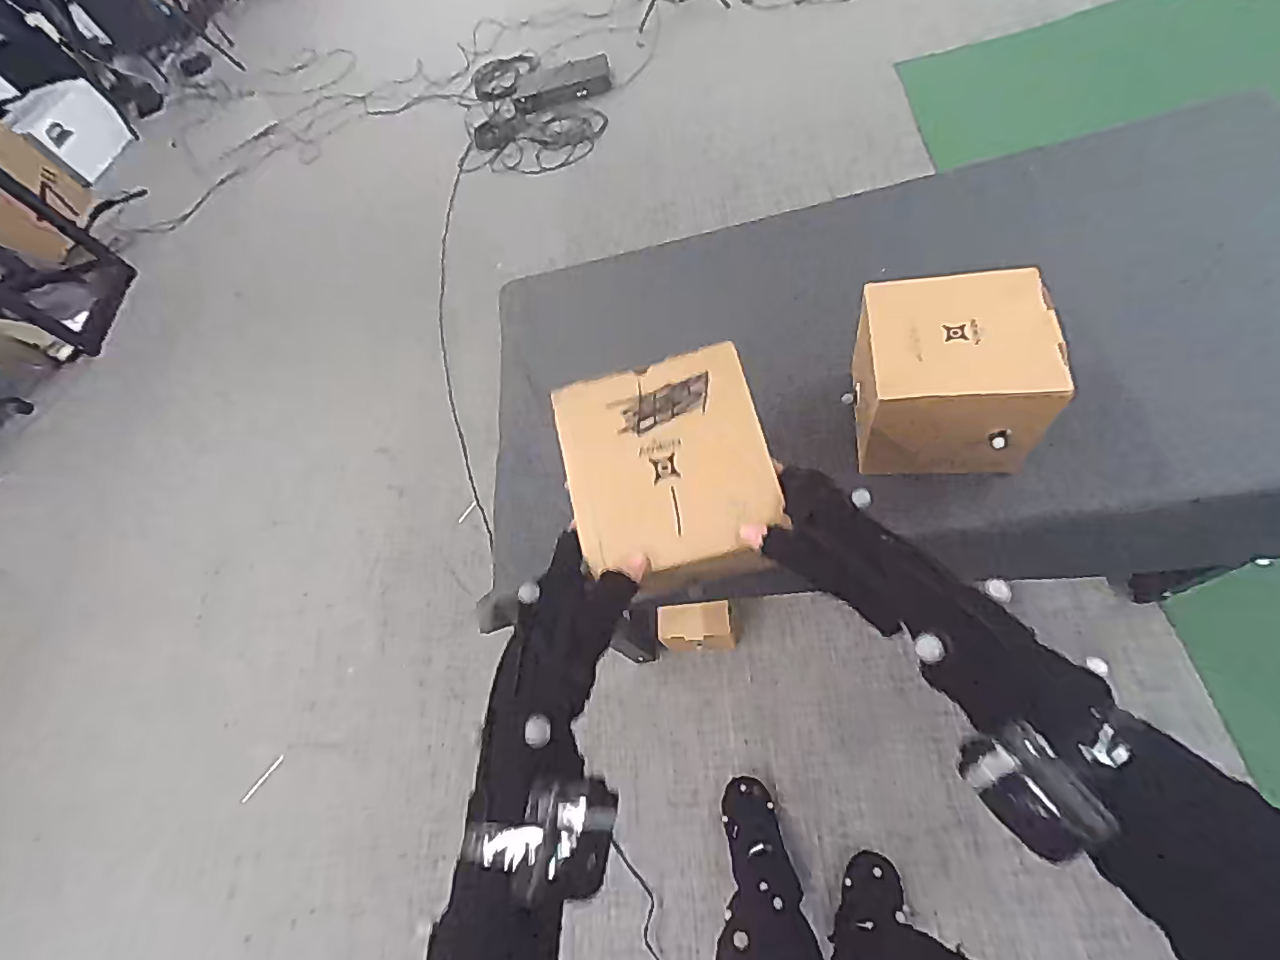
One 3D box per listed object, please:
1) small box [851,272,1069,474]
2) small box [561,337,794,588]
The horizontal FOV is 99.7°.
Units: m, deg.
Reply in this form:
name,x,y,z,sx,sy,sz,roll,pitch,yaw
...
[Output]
name,x,y,z,sx,sy,sz,roll,pitch,yaw
small box,0.356,-0.116,0.642,0.179,0.176,0.168,-1,62,15
small box,0.035,-0.004,0.523,0.168,0.176,0.179,-14,72,5
